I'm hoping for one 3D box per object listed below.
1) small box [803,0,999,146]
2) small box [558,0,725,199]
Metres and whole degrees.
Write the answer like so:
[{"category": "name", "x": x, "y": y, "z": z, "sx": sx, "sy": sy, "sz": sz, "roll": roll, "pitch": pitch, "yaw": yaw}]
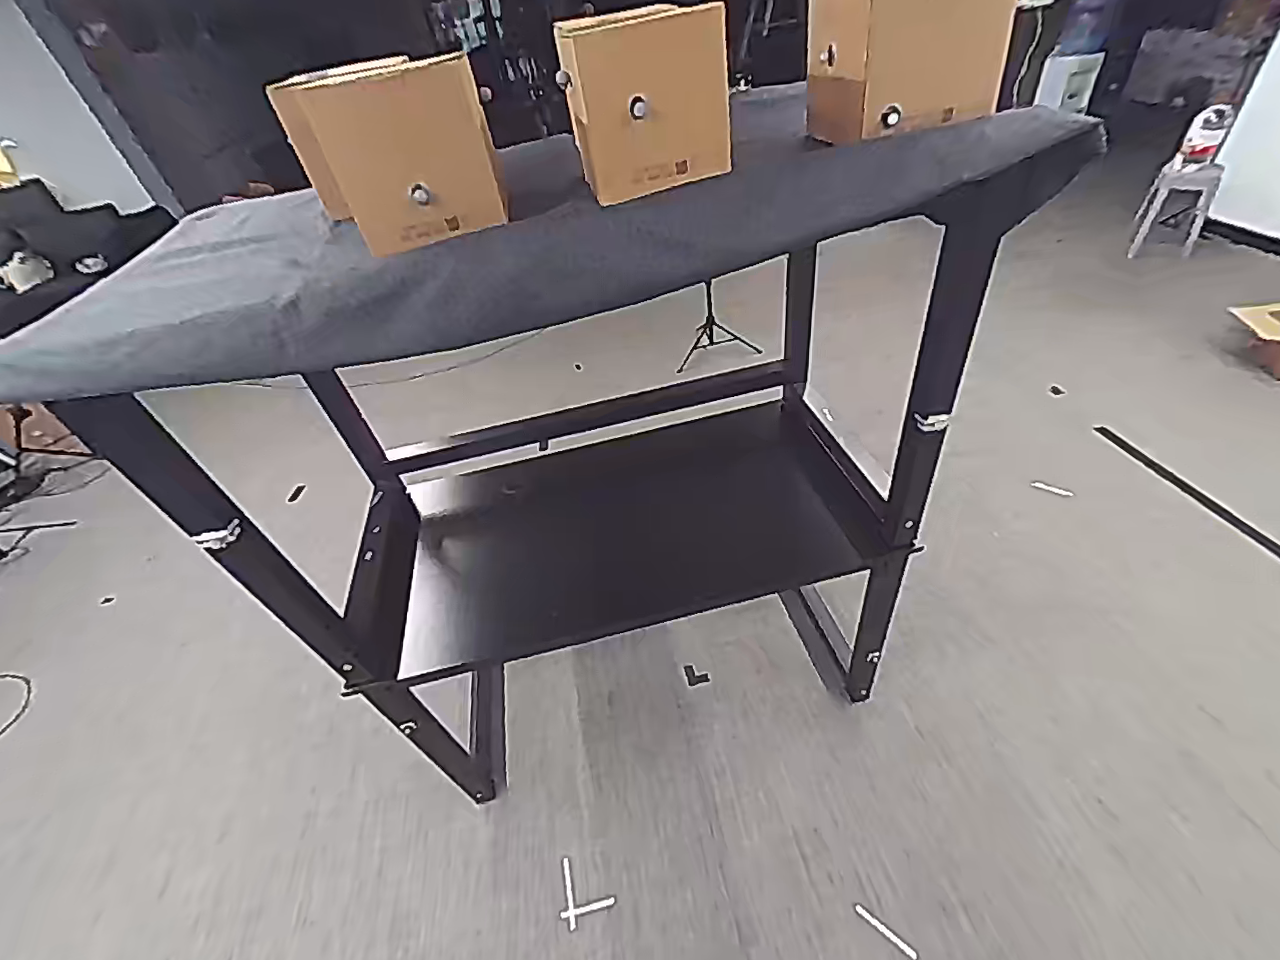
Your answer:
[{"category": "small box", "x": 0.313, "y": -0.529, "z": 0.668, "sx": 0.168, "sy": 0.176, "sz": 0.179, "roll": -12, "pitch": 38, "yaw": -1}, {"category": "small box", "x": 0.002, "y": -0.467, "z": 0.675, "sx": 0.168, "sy": 0.176, "sz": 0.179, "roll": -14, "pitch": 39, "yaw": -3}]
